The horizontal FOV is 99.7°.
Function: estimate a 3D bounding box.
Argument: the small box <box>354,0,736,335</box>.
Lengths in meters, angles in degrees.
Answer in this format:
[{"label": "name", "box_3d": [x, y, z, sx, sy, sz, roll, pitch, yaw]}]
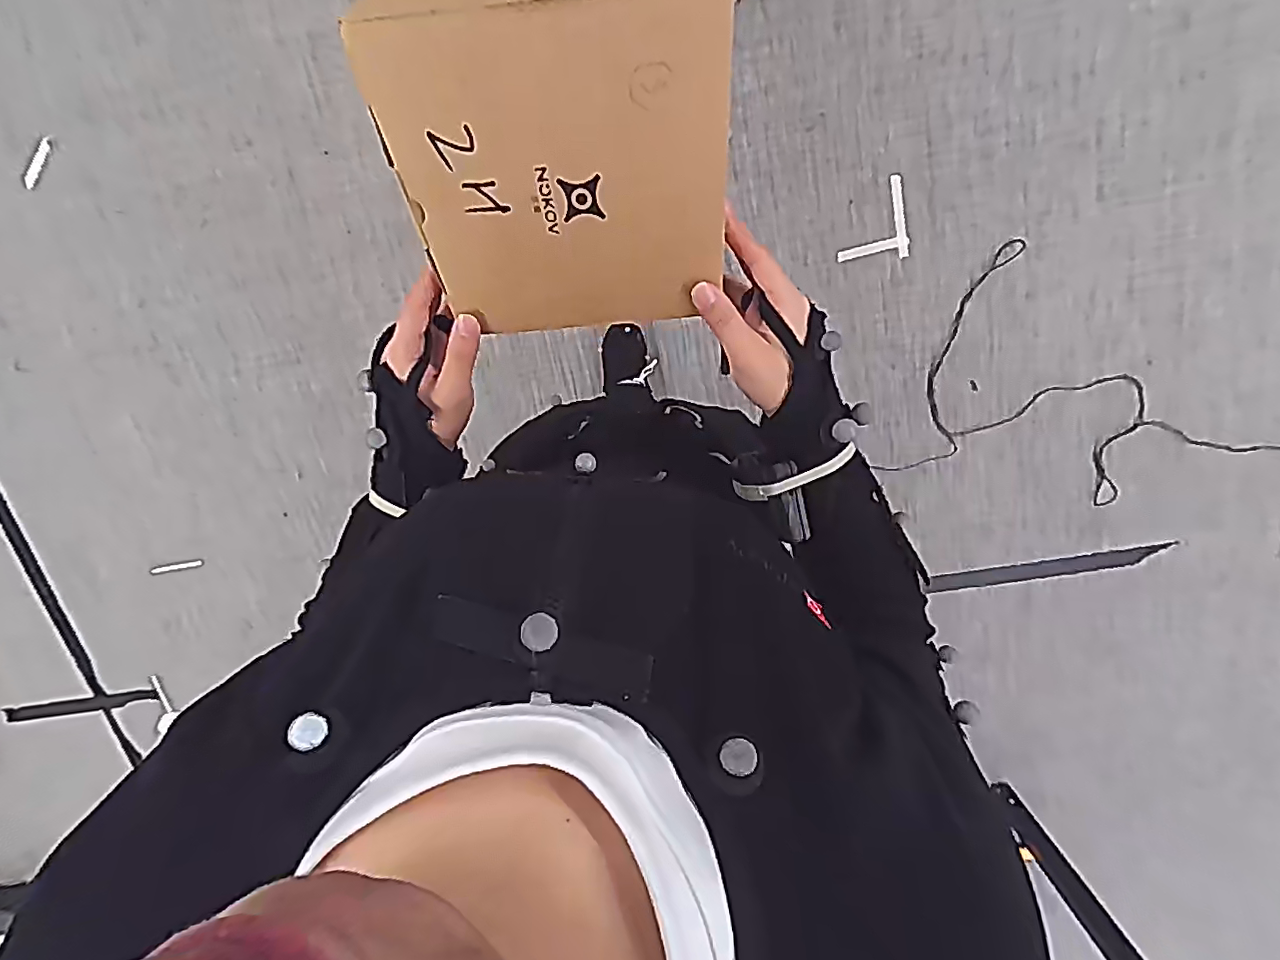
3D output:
[{"label": "small box", "box_3d": [-0.041, -0.217, 0.350, 0.179, 0.176, 0.168, -4, 141, 3]}]
